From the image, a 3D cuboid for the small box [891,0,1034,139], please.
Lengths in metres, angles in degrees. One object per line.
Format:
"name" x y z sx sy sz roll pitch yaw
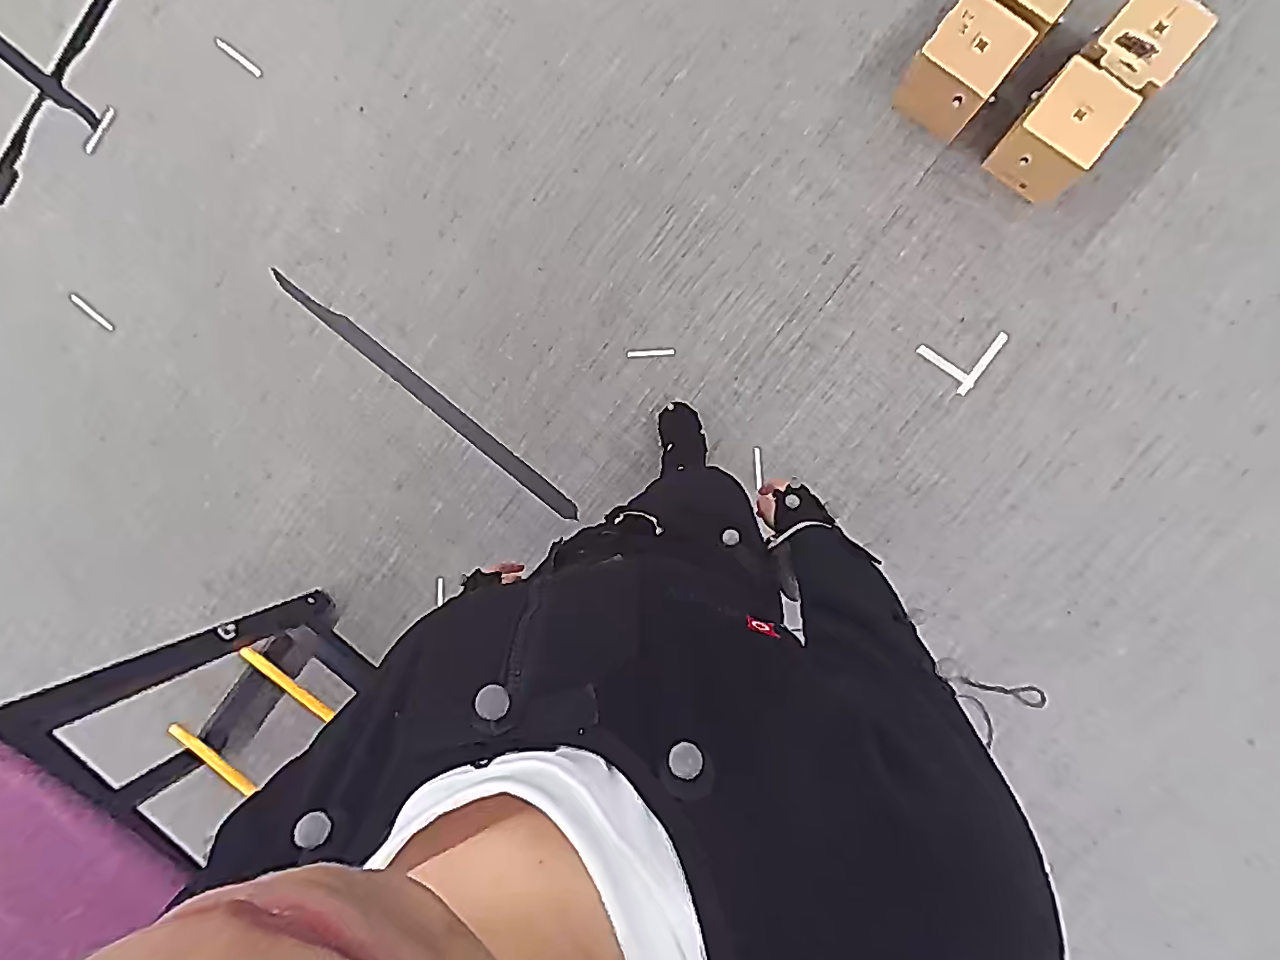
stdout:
"small box" 0.701 -0.902 1.198 0.179 0.176 0.168 38 95 3
